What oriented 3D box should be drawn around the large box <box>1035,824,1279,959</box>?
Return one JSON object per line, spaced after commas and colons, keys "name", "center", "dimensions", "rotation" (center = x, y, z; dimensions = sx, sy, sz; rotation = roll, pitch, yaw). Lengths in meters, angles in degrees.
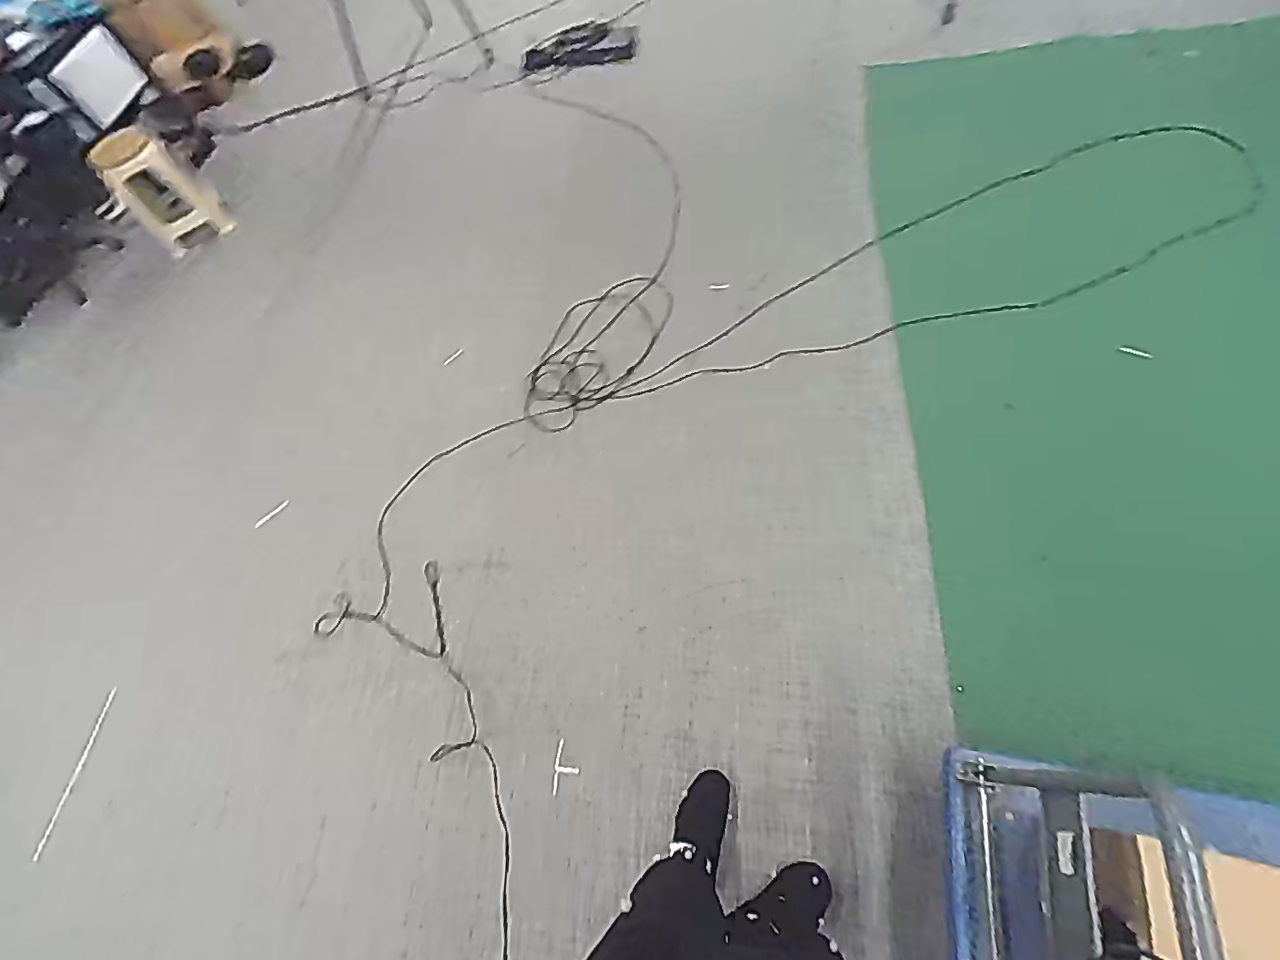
{"name": "large box", "center": [0.913, 0.765, 0.829], "dimensions": [0.408, 0.320, 0.320], "rotation": [9, 65, 14]}
